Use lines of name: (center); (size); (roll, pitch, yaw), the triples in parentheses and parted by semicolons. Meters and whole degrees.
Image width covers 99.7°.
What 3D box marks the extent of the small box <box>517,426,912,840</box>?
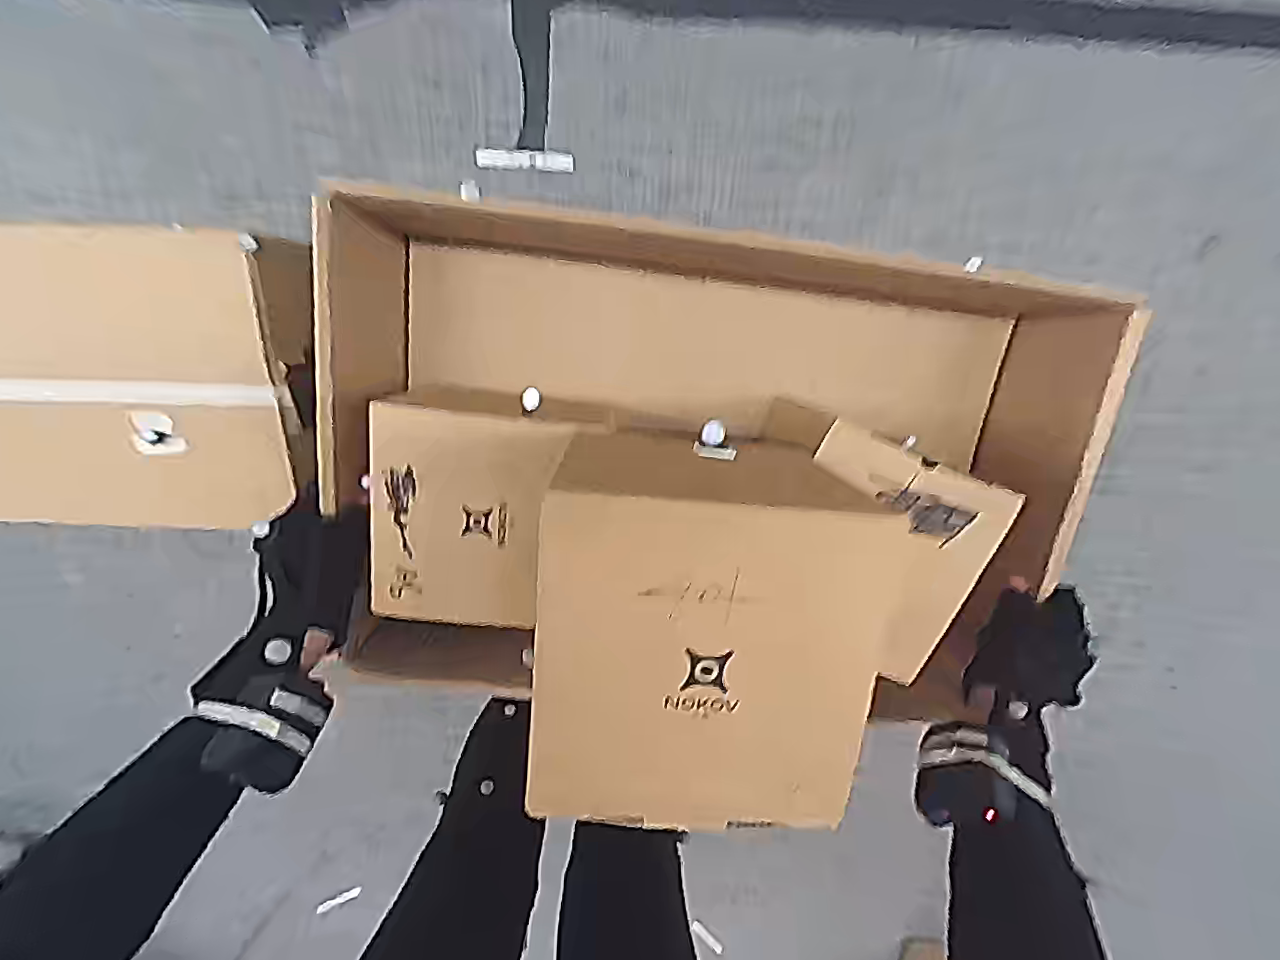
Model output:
small box: (0.026, 0.071, 0.324); (0.168, 0.176, 0.179); (4, 103, -4)

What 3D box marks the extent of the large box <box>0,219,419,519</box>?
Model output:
large box: (-0.560, -0.148, 0.706); (0.408, 0.320, 0.320); (1, 109, 0)
